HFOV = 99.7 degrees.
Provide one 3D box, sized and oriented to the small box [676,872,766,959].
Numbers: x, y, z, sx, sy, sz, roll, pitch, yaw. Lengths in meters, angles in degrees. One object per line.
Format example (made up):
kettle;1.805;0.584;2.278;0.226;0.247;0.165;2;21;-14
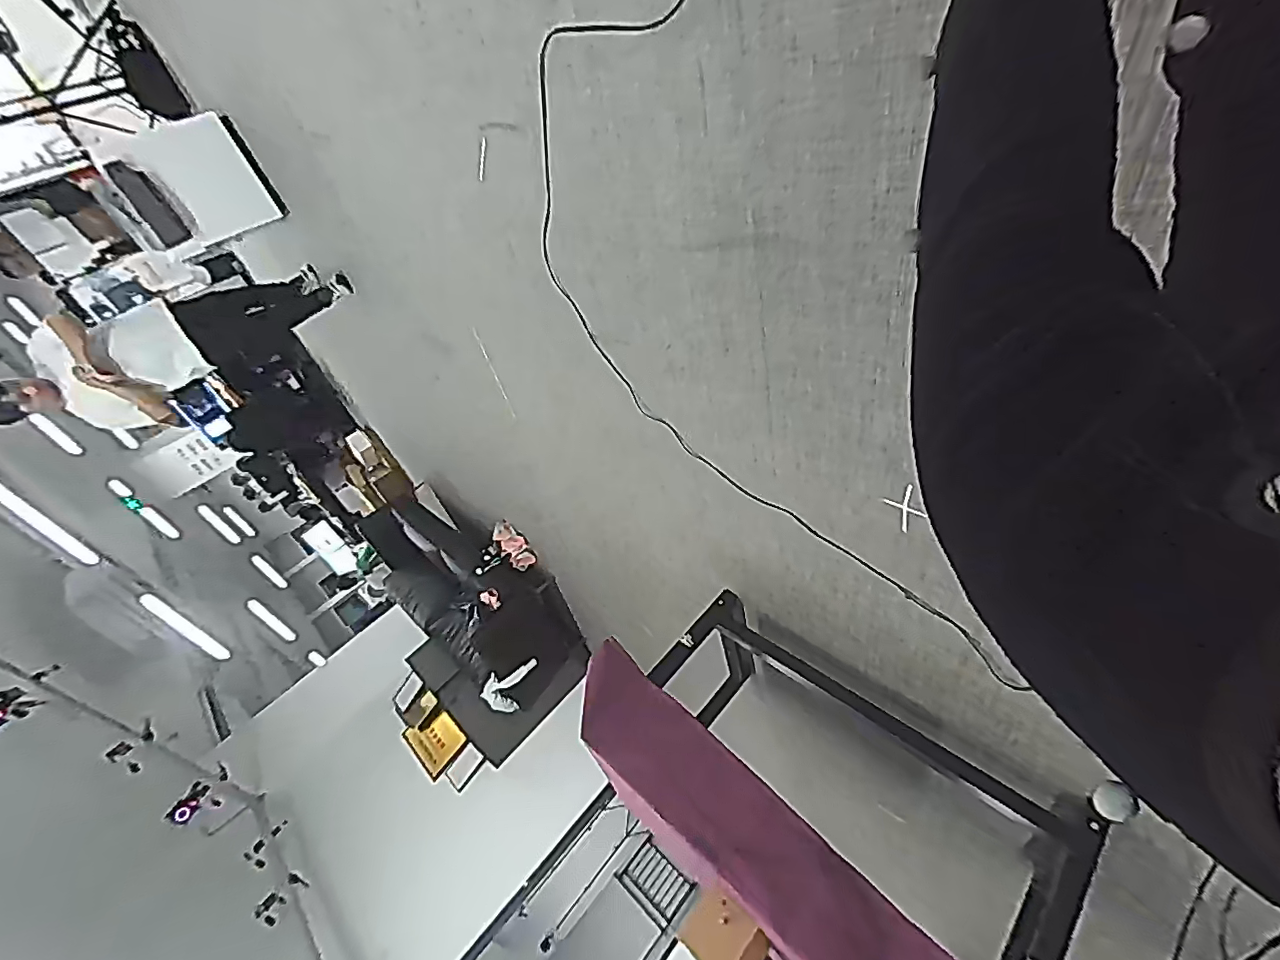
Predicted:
small box;0.235;1.260;1.519;0.168;0.176;0.179;19;141;45
